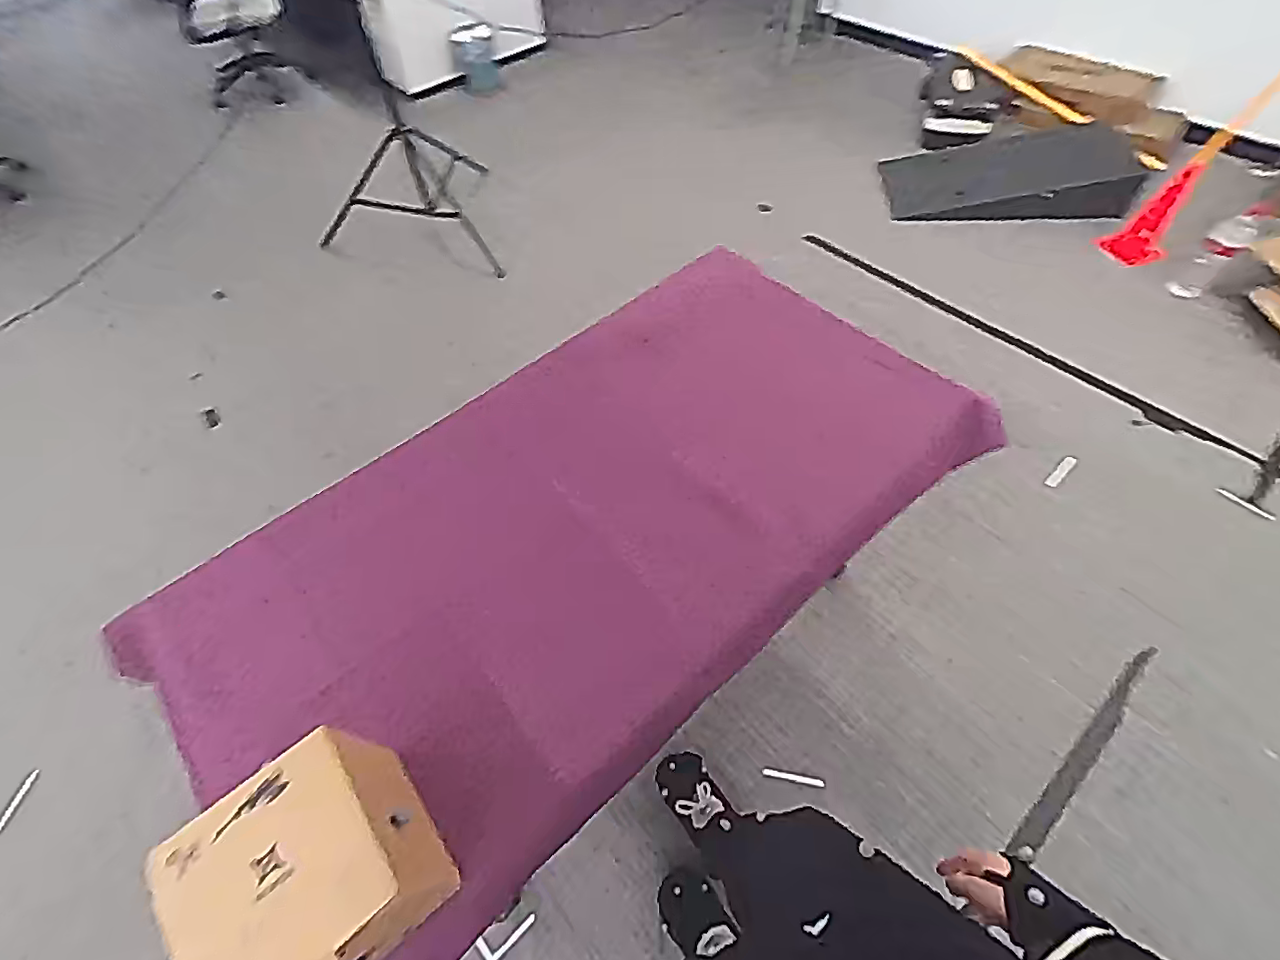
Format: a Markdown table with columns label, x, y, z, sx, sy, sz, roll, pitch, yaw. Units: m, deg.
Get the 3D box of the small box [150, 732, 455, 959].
| label | x | y | z | sx | sy | sz | roll | pitch | yaw |
| --- | --- | --- | --- | --- | --- | --- | --- | --- | --- |
| small box | -0.313 | 0.385 | 0.533 | 0.168 | 0.176 | 0.179 | -36 | 62 | -20 |
